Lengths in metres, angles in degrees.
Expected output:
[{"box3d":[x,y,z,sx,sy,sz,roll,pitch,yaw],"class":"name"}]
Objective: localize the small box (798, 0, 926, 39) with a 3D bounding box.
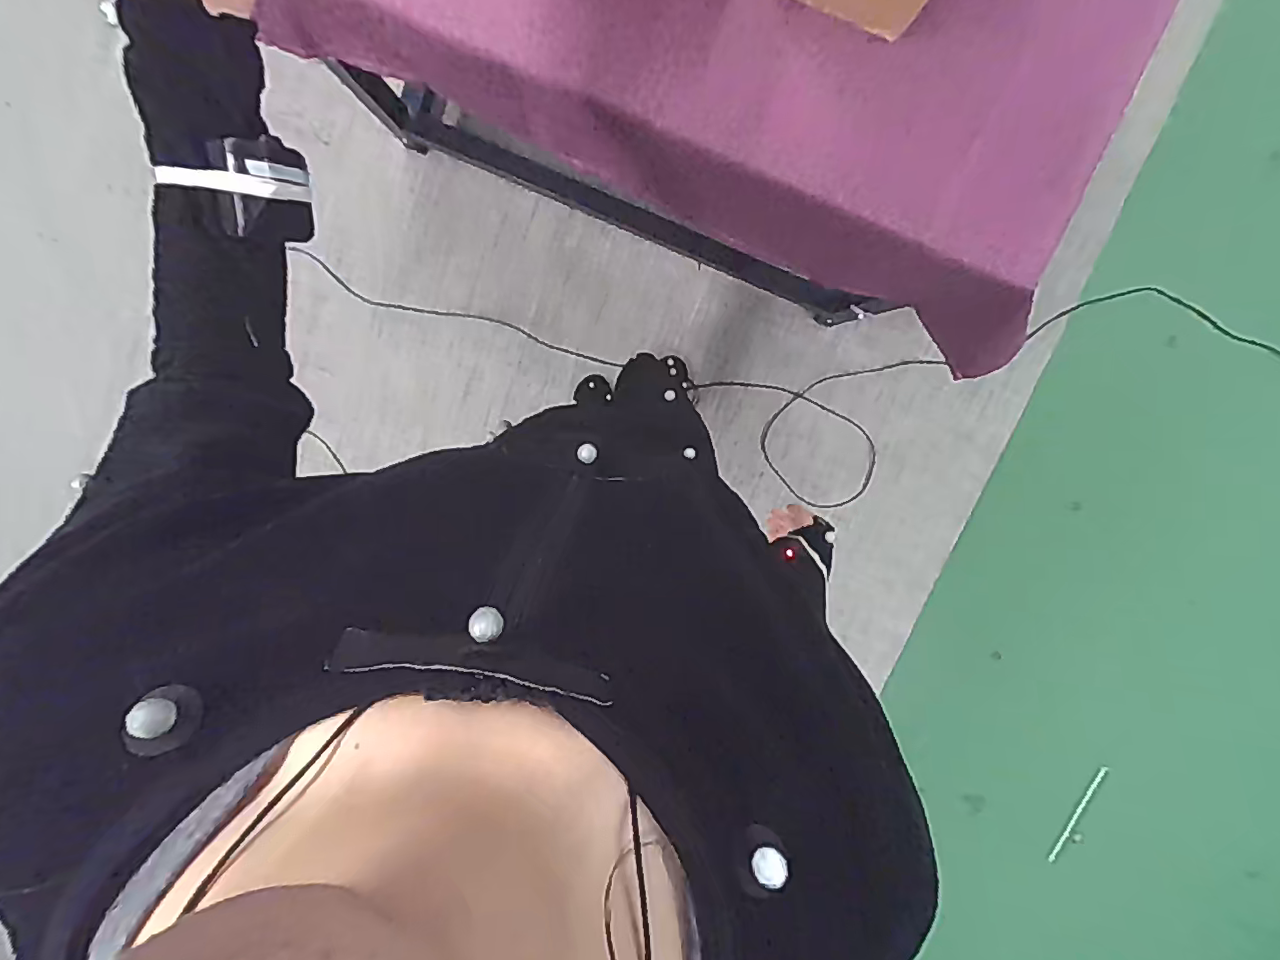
[{"box3d":[0.266,-0.627,0.574,0.179,0.176,0.168,21,100,-5],"class":"small box"}]
